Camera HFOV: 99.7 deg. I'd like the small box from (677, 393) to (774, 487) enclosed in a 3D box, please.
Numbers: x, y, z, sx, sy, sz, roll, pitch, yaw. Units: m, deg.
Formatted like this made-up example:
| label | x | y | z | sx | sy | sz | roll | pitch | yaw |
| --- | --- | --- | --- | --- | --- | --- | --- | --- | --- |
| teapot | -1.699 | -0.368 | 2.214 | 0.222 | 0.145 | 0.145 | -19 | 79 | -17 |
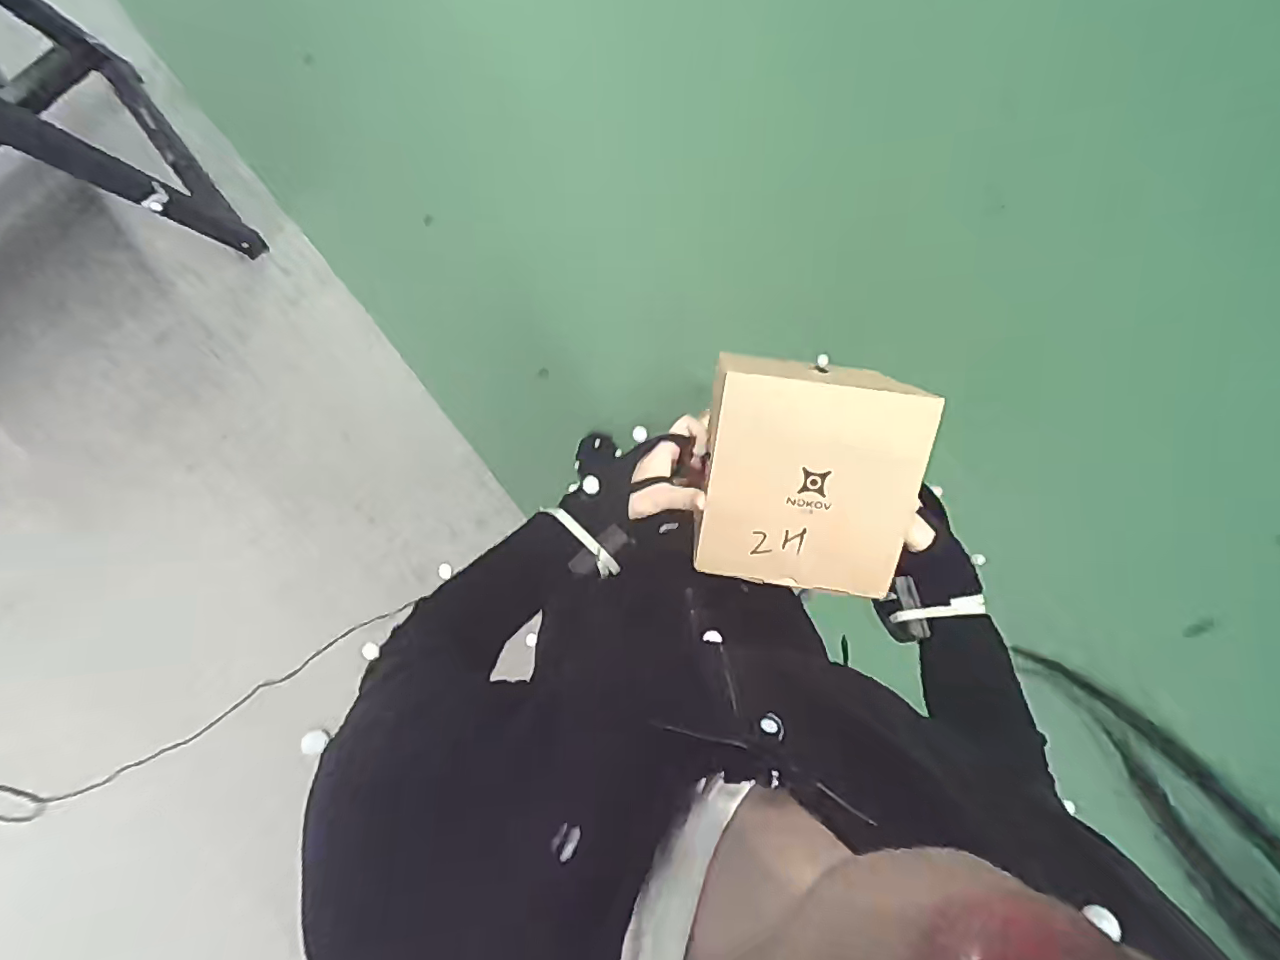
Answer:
| label | x | y | z | sx | sy | sz | roll | pitch | yaw |
| --- | --- | --- | --- | --- | --- | --- | --- | --- | --- |
| small box | 0.209 | -0.103 | 1.380 | 0.179 | 0.176 | 0.168 | -34 | 94 | 3 |
